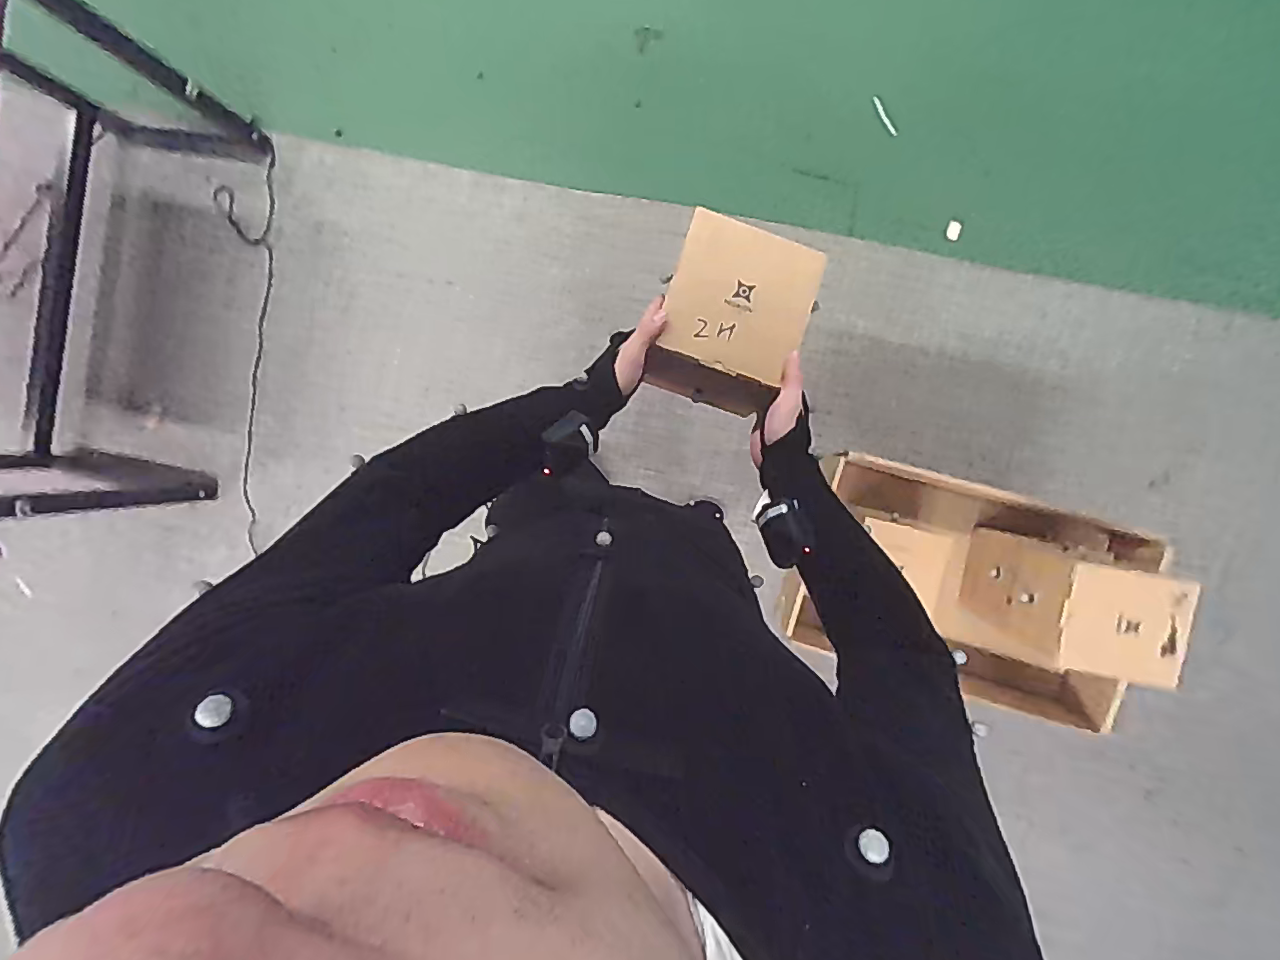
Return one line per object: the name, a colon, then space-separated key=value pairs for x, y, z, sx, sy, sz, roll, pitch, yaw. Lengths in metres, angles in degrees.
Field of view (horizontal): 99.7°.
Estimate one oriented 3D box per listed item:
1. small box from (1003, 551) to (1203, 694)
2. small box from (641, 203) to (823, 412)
small box: x=0.741 y=0.221 z=0.890 sx=0.179 sy=0.176 sz=0.168 roll=11 pitch=95 yaw=7
small box: x=0.103 y=-0.204 z=0.690 sx=0.168 sy=0.176 sz=0.179 roll=19 pitch=86 yaw=-2
